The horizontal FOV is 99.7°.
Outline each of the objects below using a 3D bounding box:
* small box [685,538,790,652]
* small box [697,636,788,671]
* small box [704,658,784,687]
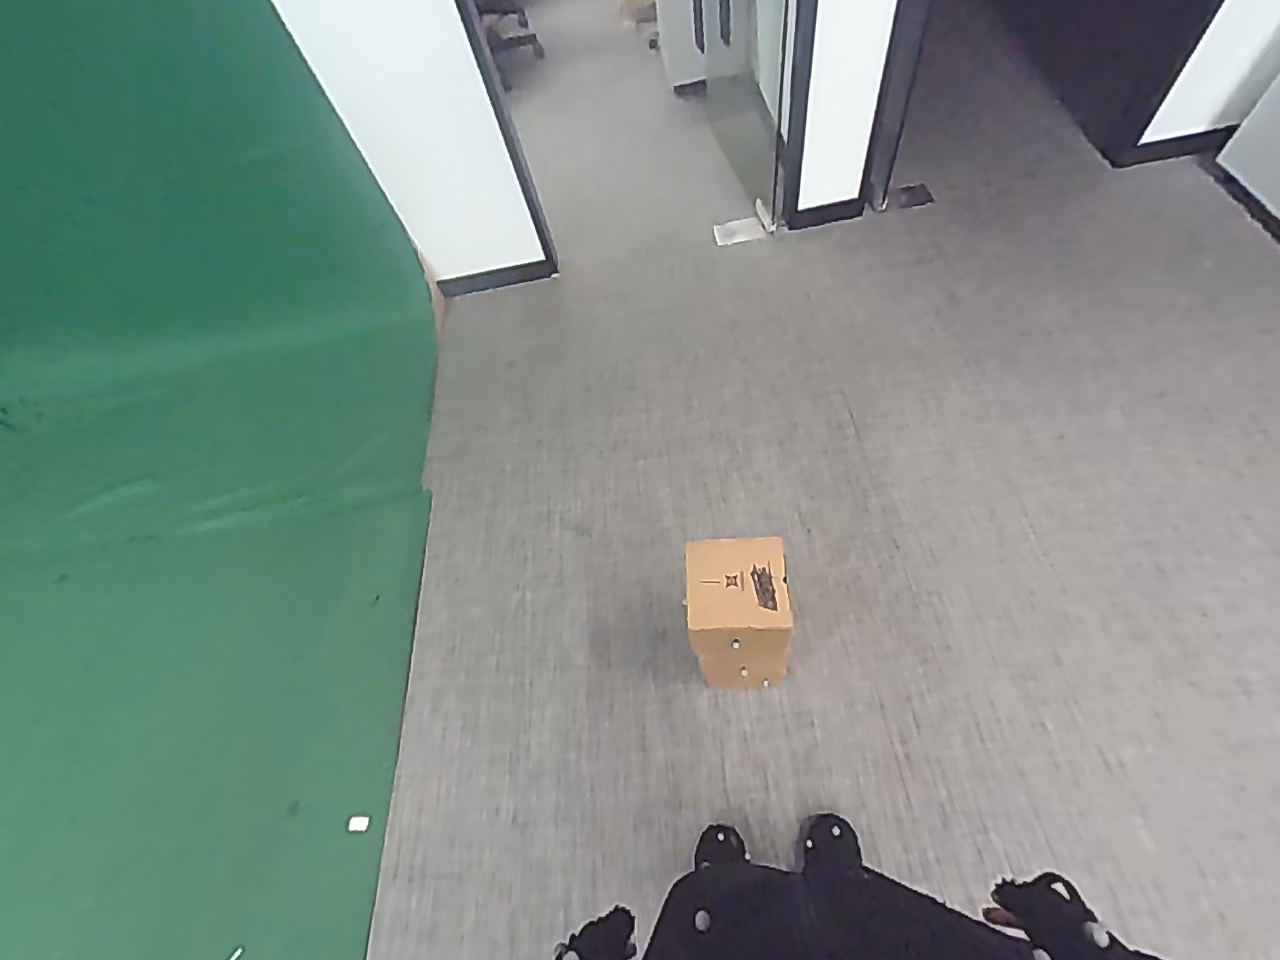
[{"bbox_3d":[0.179,0.218,1.008,0.179,0.176,0.168,-3,59,11],"label":"small box"},{"bbox_3d":[0.208,0.302,1.146,0.179,0.176,0.168,-4,59,7],"label":"small box"},{"bbox_3d":[0.237,0.388,1.283,0.179,0.176,0.168,-7,58,8],"label":"small box"}]
